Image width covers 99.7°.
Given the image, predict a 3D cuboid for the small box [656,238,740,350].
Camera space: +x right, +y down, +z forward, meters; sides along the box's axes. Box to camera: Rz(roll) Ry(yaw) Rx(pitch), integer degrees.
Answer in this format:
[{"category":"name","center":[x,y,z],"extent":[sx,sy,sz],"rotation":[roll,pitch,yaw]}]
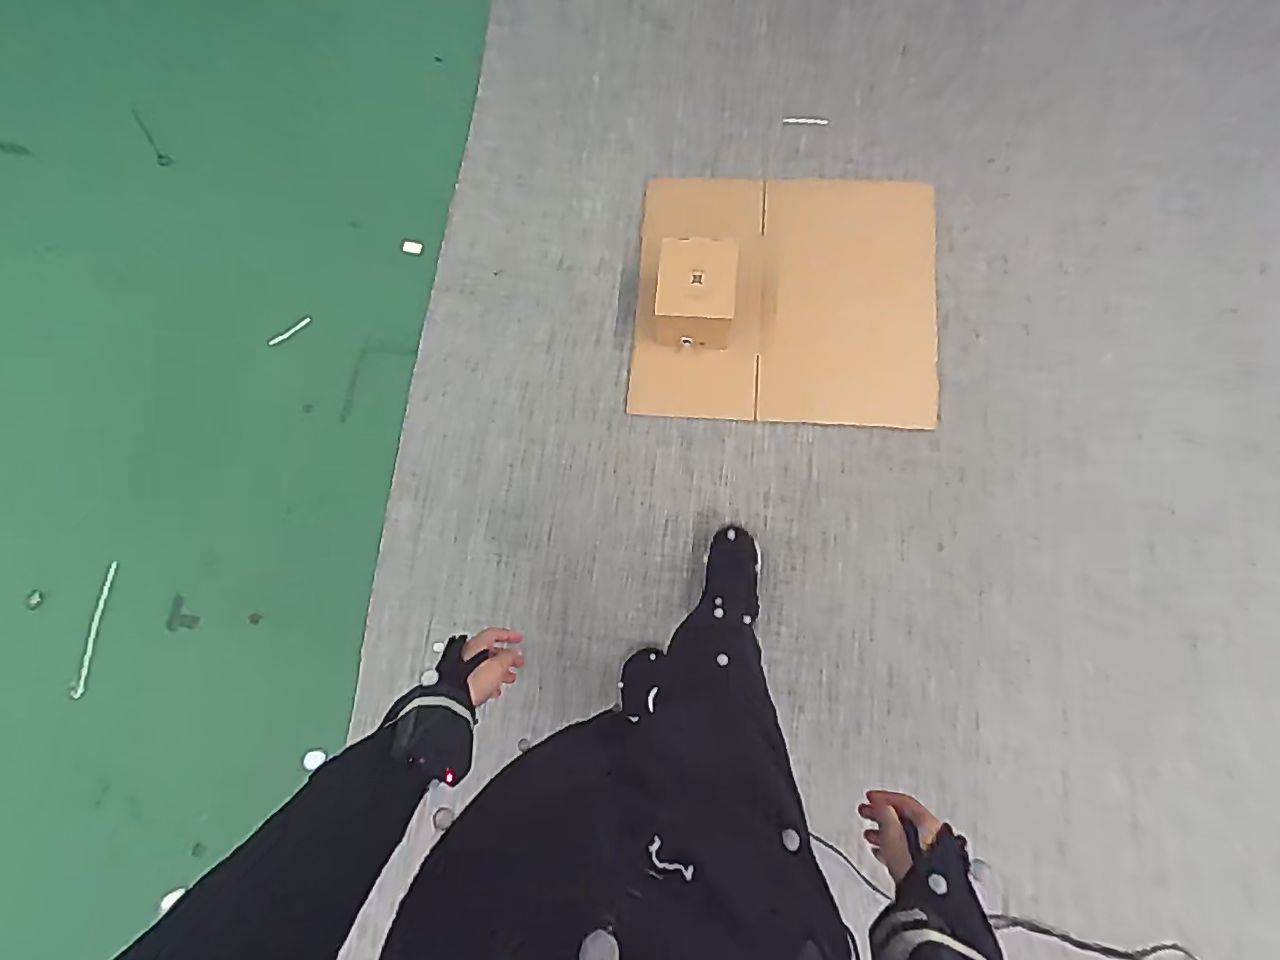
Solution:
[{"category":"small box","center":[0.126,-0.407,1.196],"extent":[0.168,0.176,0.179],"rotation":[4,82,6]}]
